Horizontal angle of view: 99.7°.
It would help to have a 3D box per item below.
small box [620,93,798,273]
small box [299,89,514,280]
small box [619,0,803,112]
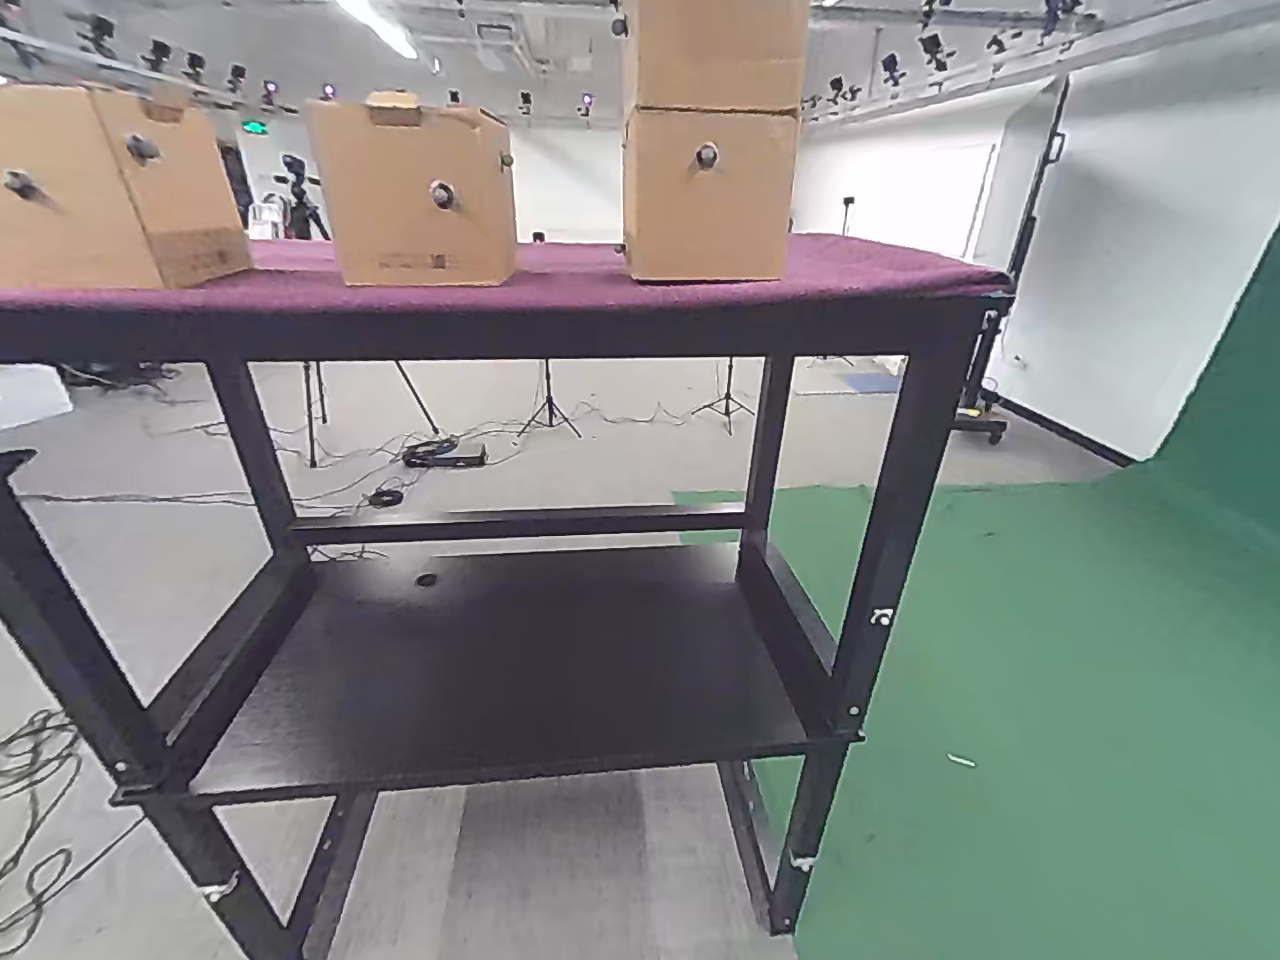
[{"bbox_3d":[0.070,-0.343,0.649,0.179,0.176,0.168,-2,26,-6],"label":"small box"},{"bbox_3d":[-0.240,-0.324,0.611,0.168,0.176,0.179,0,27,-5],"label":"small box"},{"bbox_3d":[0.068,-0.491,0.582,0.179,0.176,0.168,-2,26,-6],"label":"small box"}]
